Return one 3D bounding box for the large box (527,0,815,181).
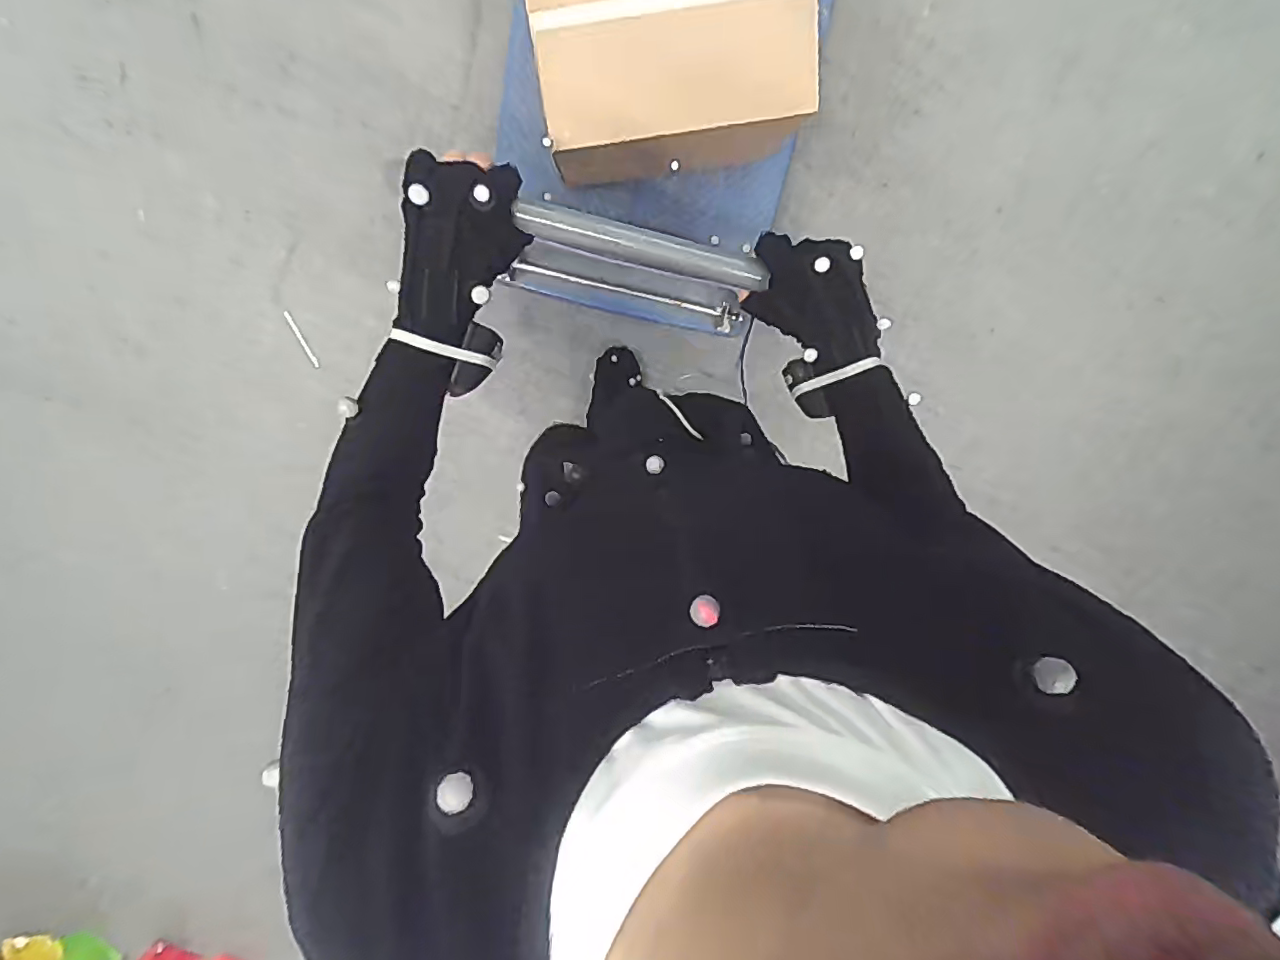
[{"bbox_3d":[0.039,-0.724,0.900,0.408,0.320,0.320,-9,108,1],"label":"large box"}]
